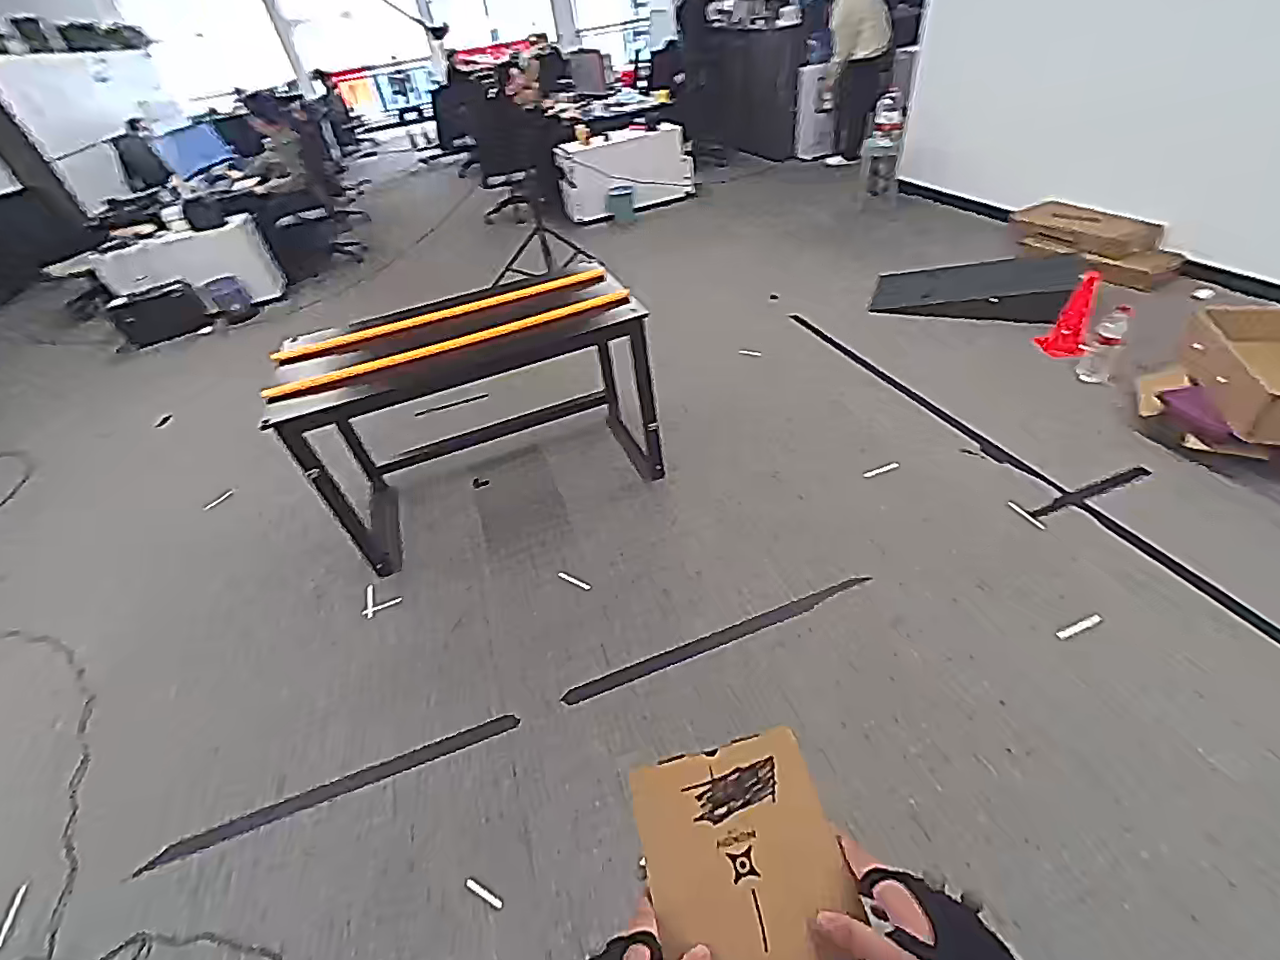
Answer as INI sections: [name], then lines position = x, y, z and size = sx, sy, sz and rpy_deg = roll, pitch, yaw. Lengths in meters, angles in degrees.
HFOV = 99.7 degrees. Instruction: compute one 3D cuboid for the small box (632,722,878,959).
[small box]
position = 0.096, 0.370, 0.524
size = 0.168, 0.176, 0.179
rpy_deg = -15, 47, -3
